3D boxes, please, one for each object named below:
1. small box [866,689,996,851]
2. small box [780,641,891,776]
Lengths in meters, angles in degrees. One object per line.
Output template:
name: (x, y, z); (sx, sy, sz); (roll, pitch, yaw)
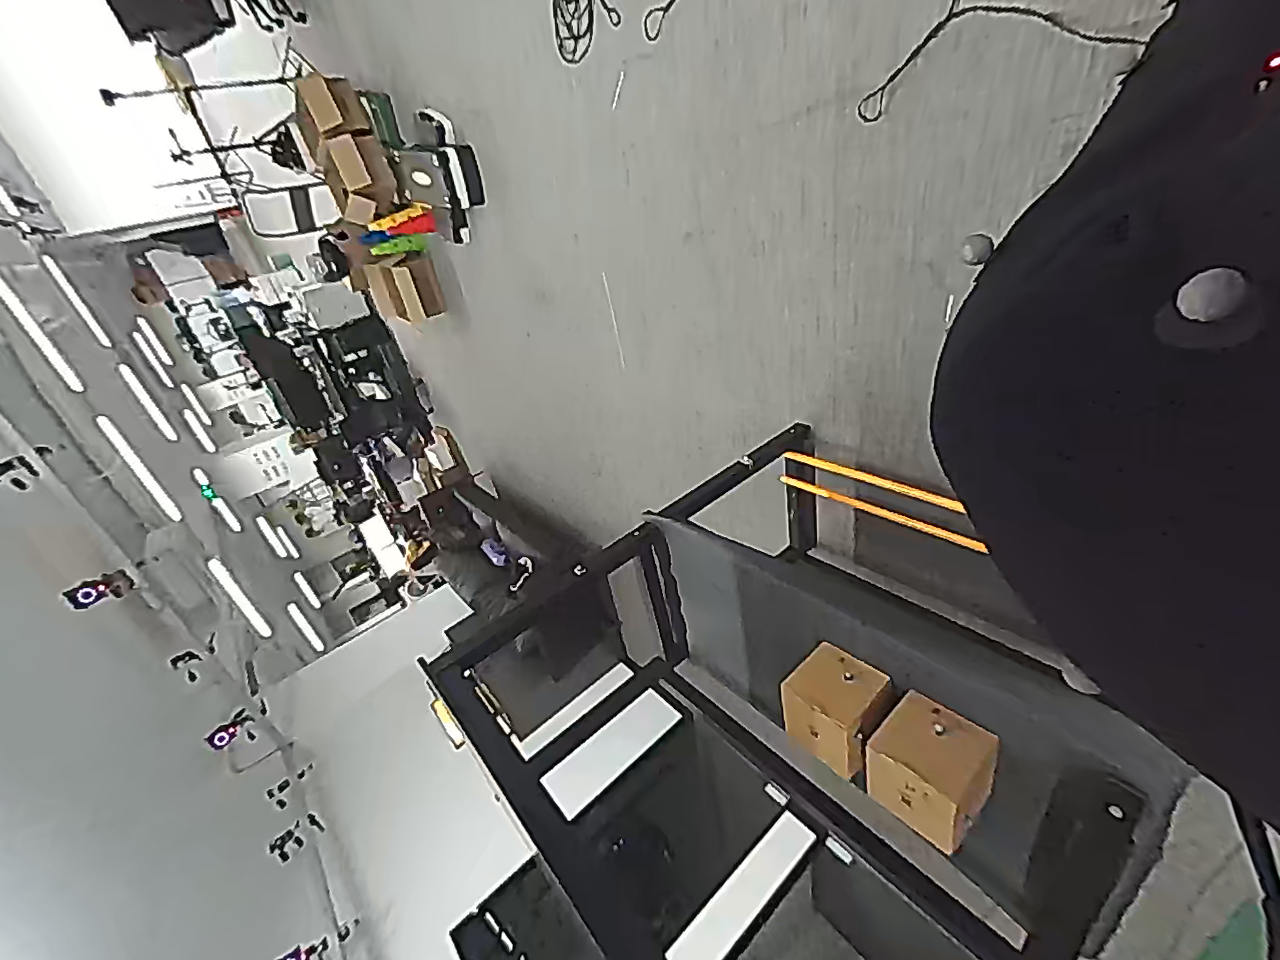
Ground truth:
small box: (0.559, 0.550, 1.043); (0.168, 0.176, 0.179); (22, 135, 48)
small box: (0.435, 0.497, 1.197); (0.168, 0.176, 0.179); (22, 134, 47)
